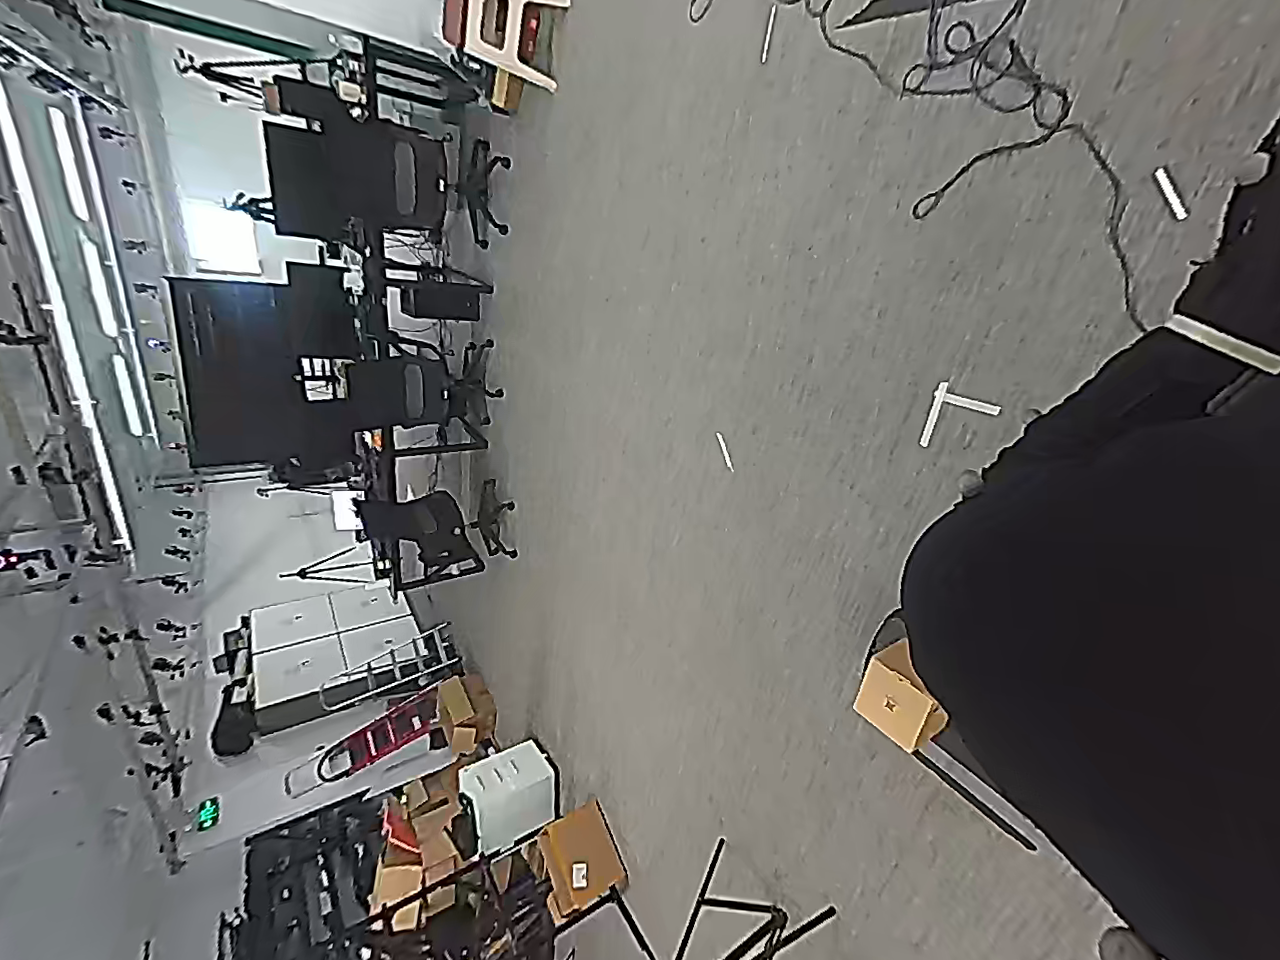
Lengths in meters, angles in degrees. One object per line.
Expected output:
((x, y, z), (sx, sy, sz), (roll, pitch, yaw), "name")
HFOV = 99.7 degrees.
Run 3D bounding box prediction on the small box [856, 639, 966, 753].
((0.685, 0.537, 1.365), (0.168, 0.176, 0.179), (34, 124, 47), "small box")
